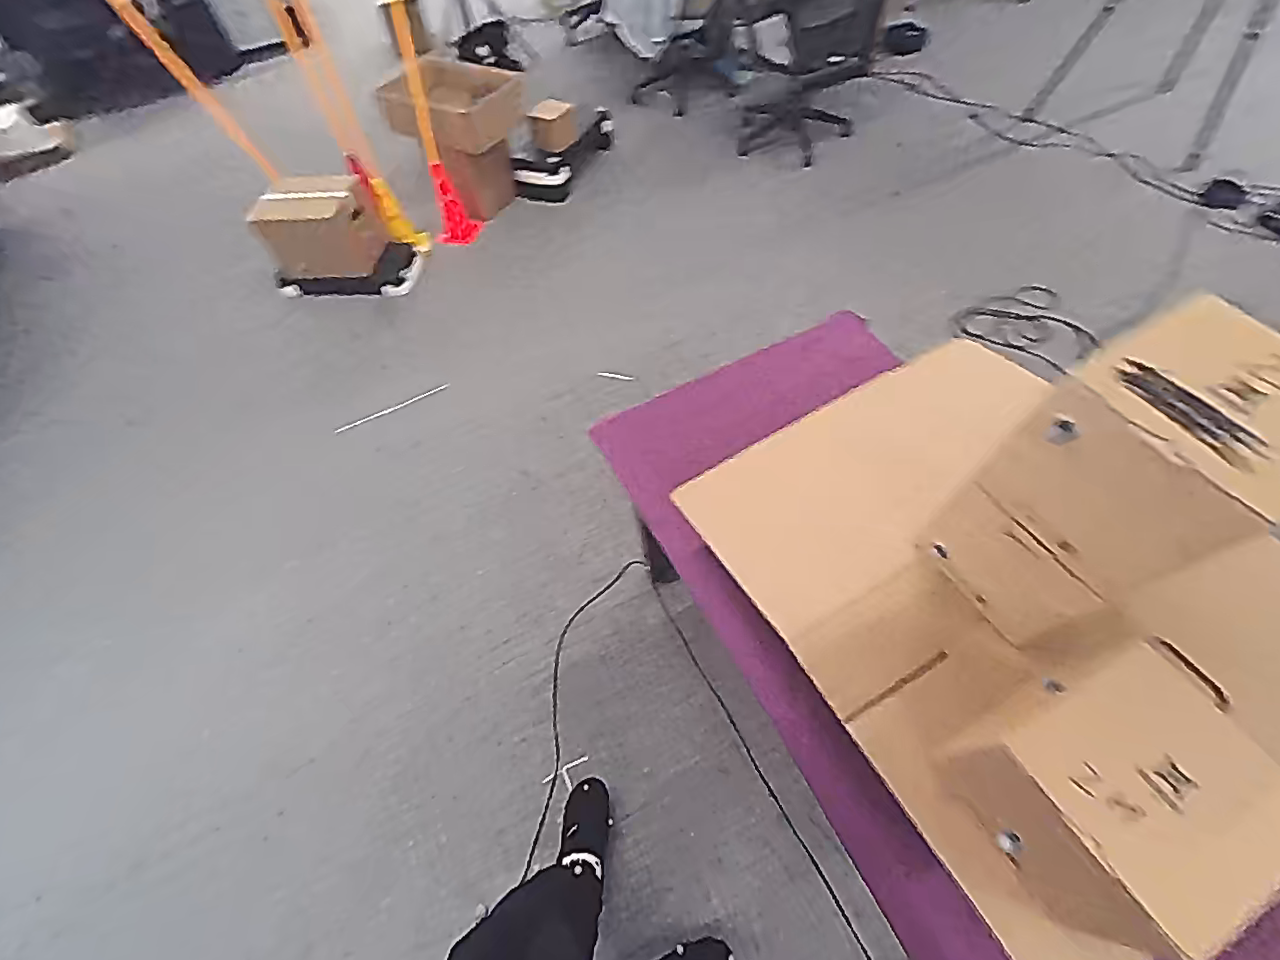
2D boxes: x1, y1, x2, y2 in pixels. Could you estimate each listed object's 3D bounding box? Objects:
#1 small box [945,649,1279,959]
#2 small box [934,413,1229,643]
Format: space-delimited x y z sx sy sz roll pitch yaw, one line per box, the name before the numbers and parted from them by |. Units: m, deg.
small box | 0.426 0.285 0.493 0.179 0.176 0.168 -27 59 -11
small box | 0.475 0.062 0.622 0.179 0.176 0.168 -28 62 -12
